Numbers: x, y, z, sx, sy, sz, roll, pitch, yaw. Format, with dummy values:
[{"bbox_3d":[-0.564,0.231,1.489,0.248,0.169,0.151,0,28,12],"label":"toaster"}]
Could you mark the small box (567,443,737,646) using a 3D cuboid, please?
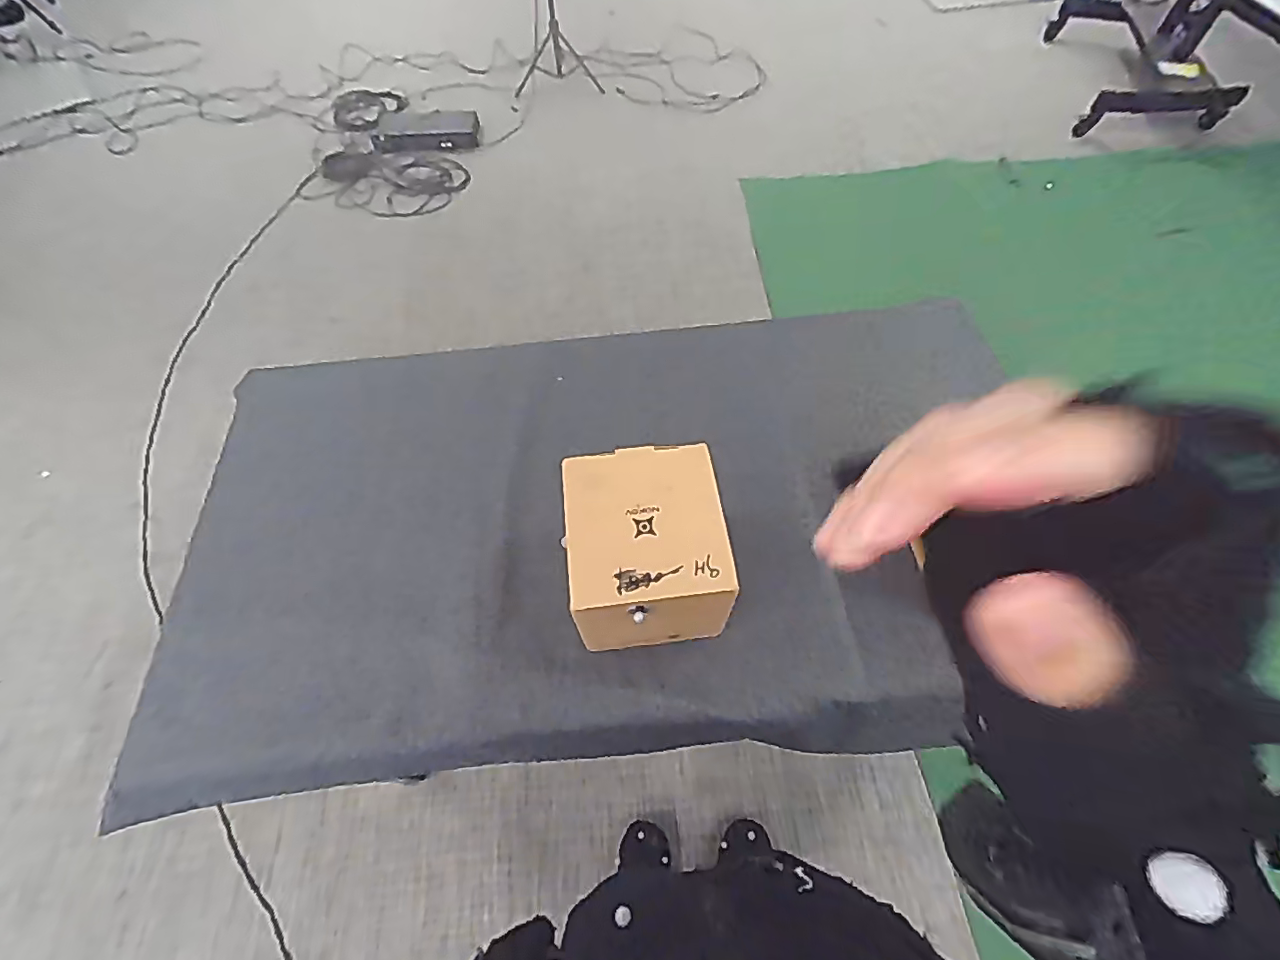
[{"bbox_3d":[0.008,0.080,0.636,0.168,0.176,0.179,-7,59,-2],"label":"small box"}]
